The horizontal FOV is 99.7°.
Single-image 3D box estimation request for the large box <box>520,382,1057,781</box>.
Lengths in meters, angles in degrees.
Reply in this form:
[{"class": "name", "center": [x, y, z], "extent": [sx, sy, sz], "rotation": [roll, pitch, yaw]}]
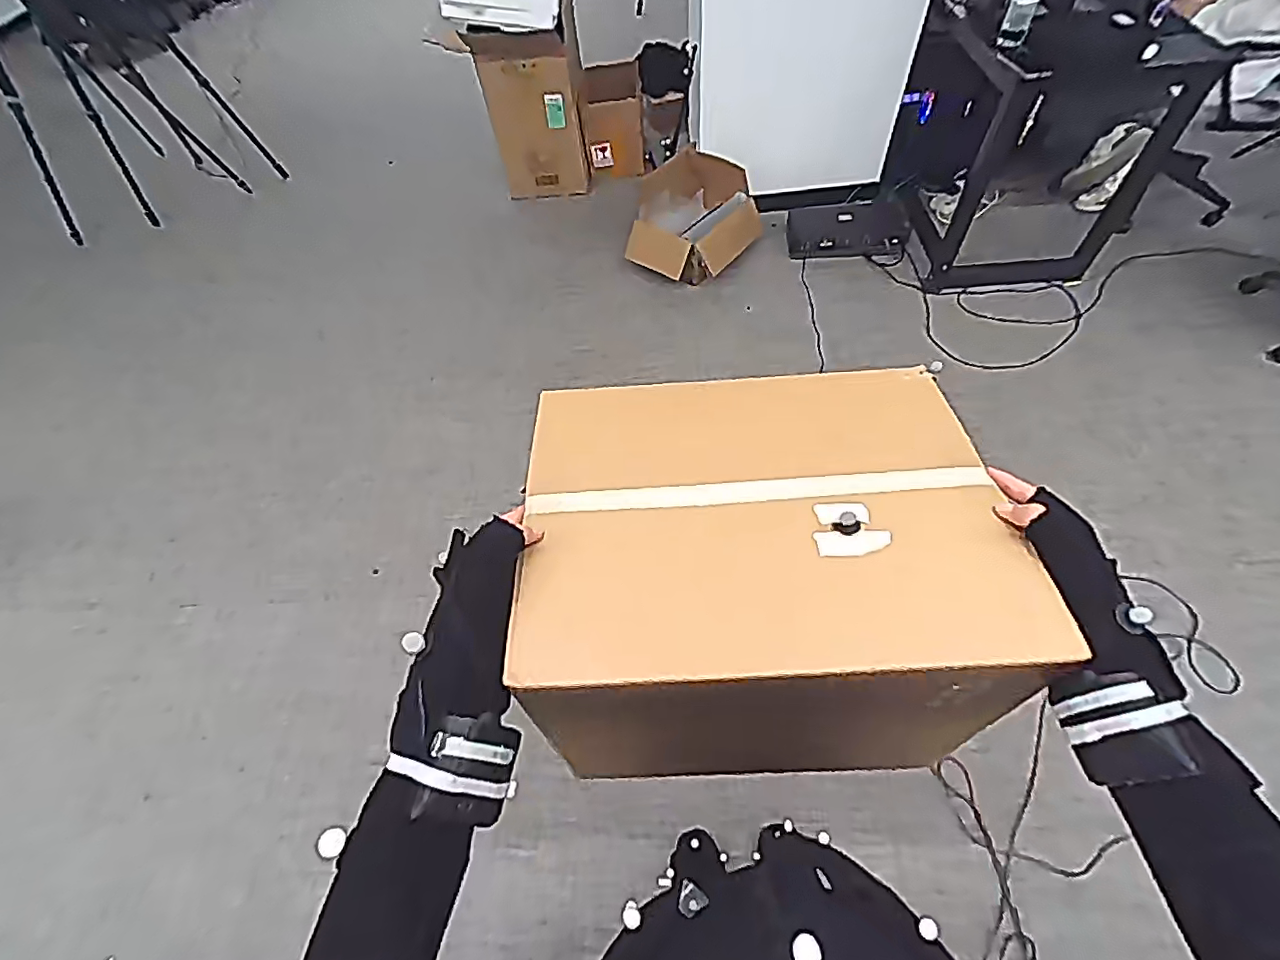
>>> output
[{"class": "large box", "center": [0.109, 0.120, 0.602], "extent": [0.408, 0.320, 0.320], "rotation": [-4, 50, 2]}]
